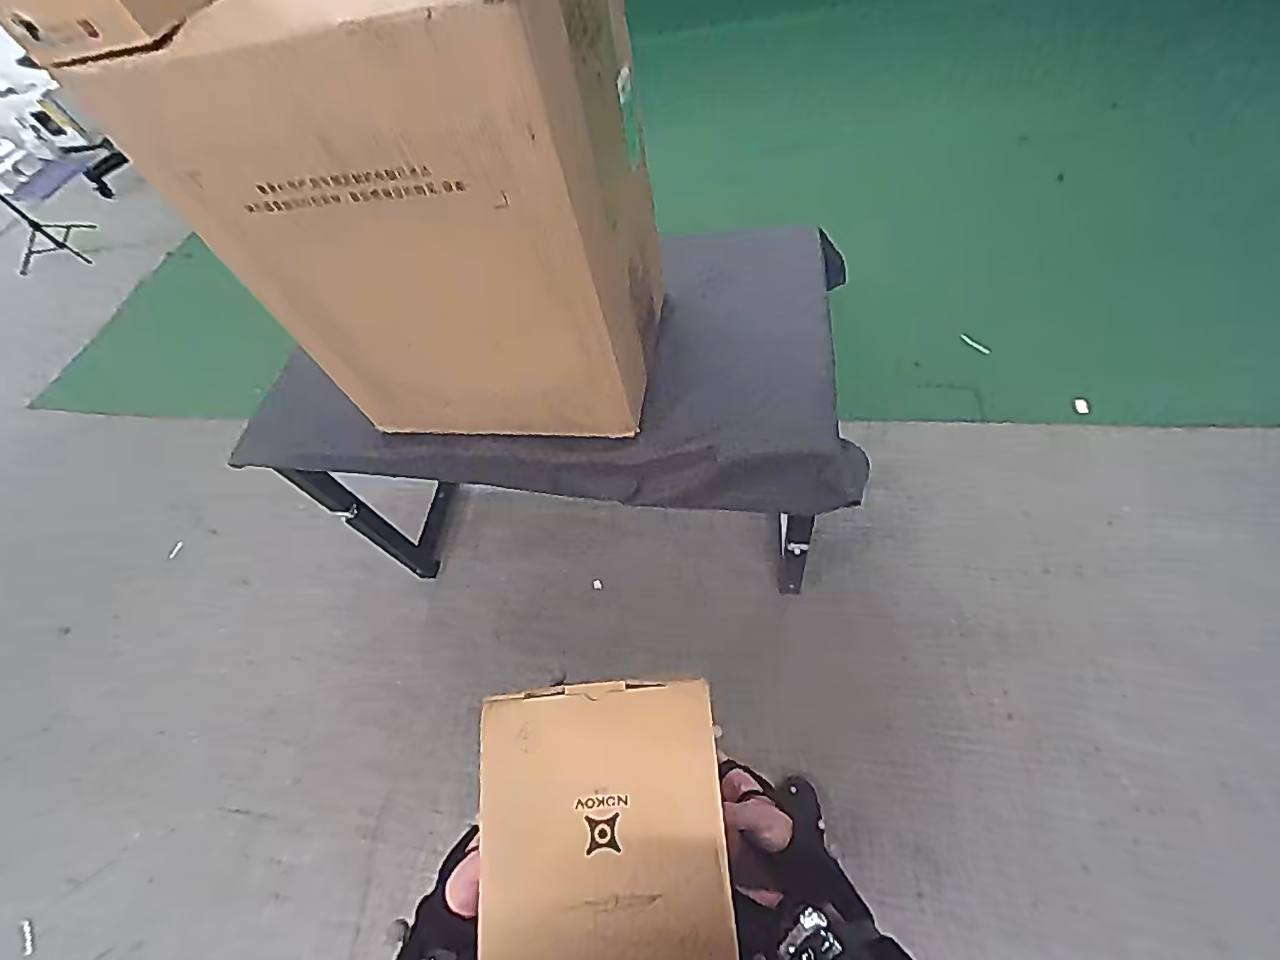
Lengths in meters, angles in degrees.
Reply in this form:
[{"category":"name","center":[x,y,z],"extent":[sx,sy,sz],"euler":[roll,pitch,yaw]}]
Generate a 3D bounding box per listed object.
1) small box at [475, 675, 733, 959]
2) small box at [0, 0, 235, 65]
[{"category":"small box","center":[-0.028,0.257,0.440],"extent":[0.168,0.176,0.179],"euler":[-4,72,-1]},{"category":"small box","center":[-0.550,-0.539,0.532],"extent":[0.168,0.176,0.179],"euler":[3,58,15]}]
